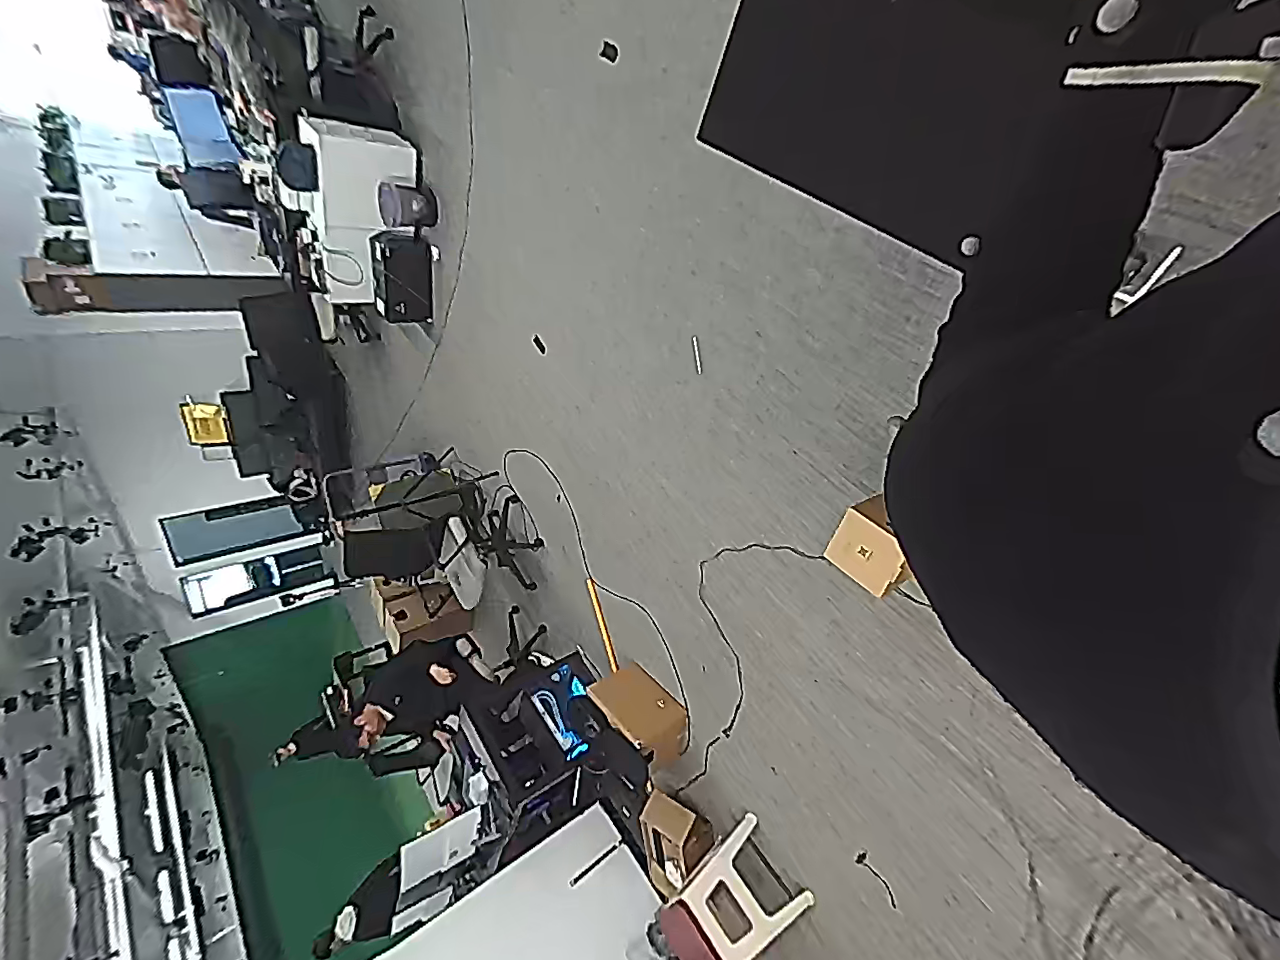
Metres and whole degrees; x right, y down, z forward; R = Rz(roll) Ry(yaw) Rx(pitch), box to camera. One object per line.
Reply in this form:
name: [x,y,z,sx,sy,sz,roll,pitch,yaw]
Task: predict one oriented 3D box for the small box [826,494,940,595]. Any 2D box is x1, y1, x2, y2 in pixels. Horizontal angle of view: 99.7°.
small box: [0.619,0.154,1.374,0.179,0.176,0.168,42,131,35]
